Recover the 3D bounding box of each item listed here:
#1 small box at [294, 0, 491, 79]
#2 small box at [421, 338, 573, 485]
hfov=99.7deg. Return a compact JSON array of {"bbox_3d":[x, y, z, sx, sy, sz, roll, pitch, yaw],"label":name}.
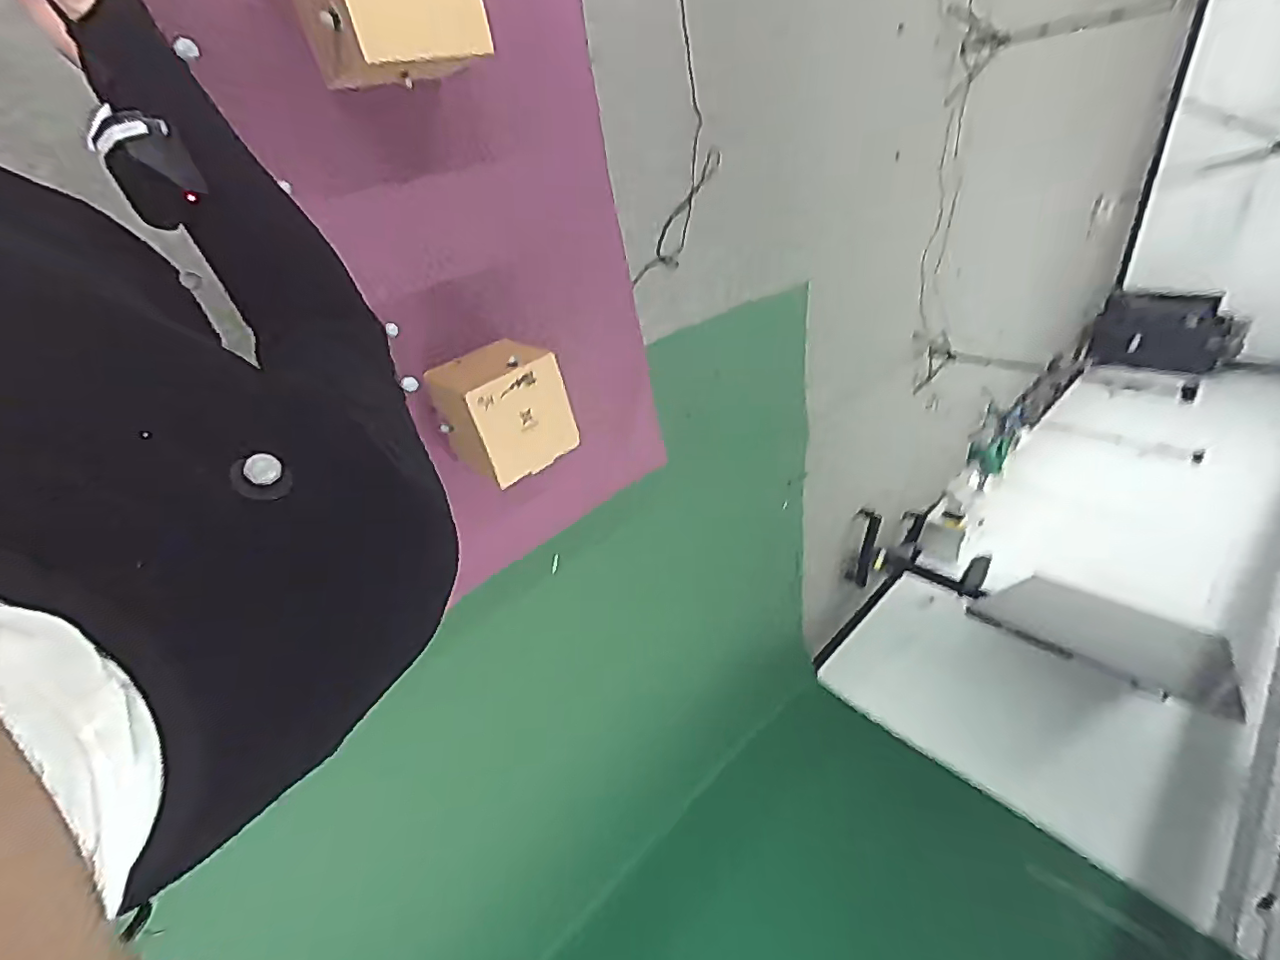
[{"bbox_3d":[-0.308,-0.595,0.642,0.168,0.176,0.179,-32,128,-30],"label":"small box"},{"bbox_3d":[-0.244,-0.125,0.927,0.168,0.176,0.179,-33,129,-29],"label":"small box"}]
